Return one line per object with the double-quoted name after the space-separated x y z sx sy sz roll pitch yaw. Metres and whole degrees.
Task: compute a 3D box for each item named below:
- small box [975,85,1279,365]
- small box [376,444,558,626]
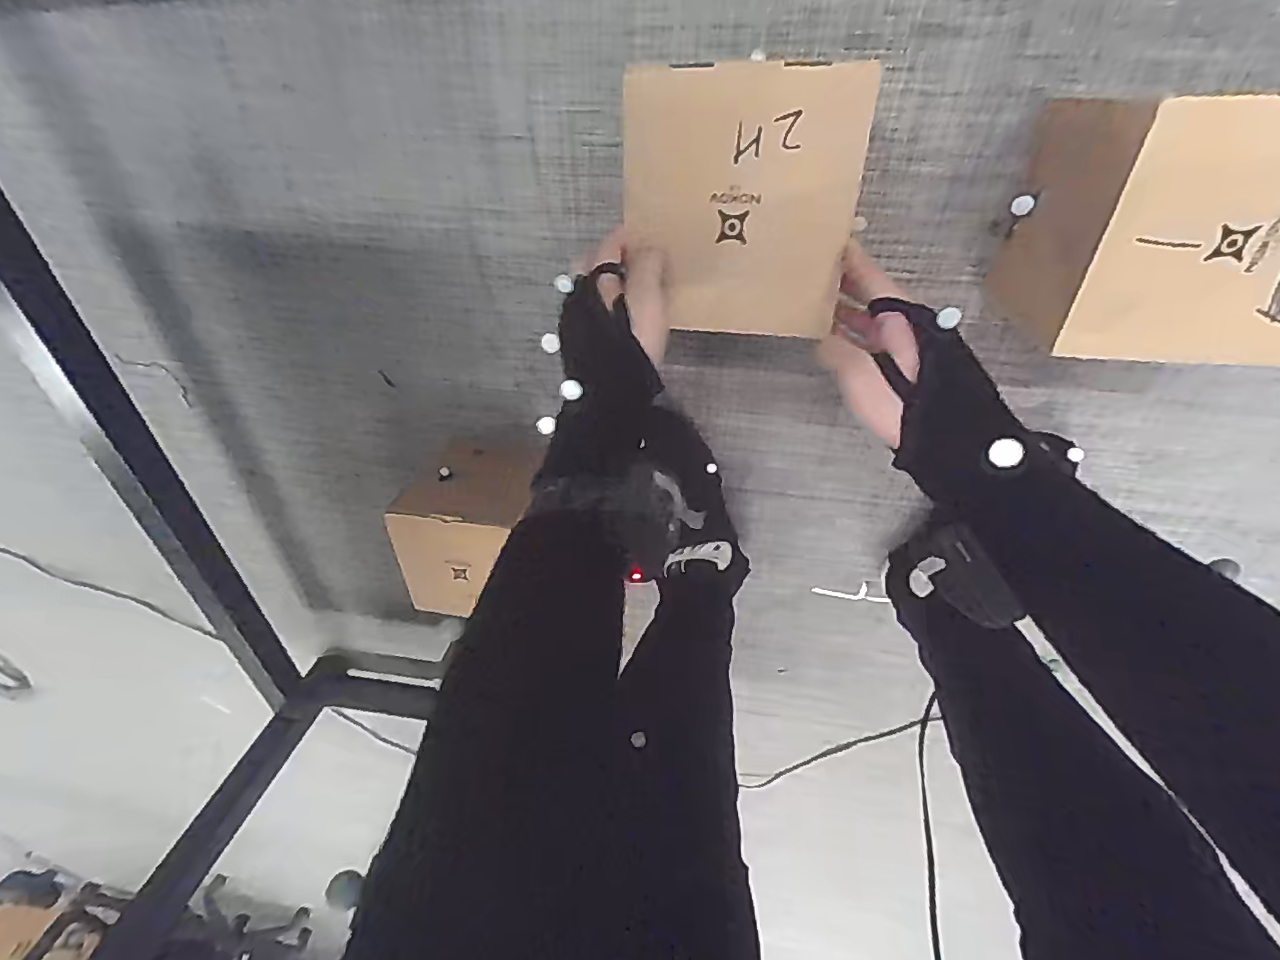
0.399 -0.201 0.416 0.179 0.176 0.168 6 125 10 "small box"
-0.218 0.068 0.735 0.168 0.176 0.179 6 127 8 "small box"
